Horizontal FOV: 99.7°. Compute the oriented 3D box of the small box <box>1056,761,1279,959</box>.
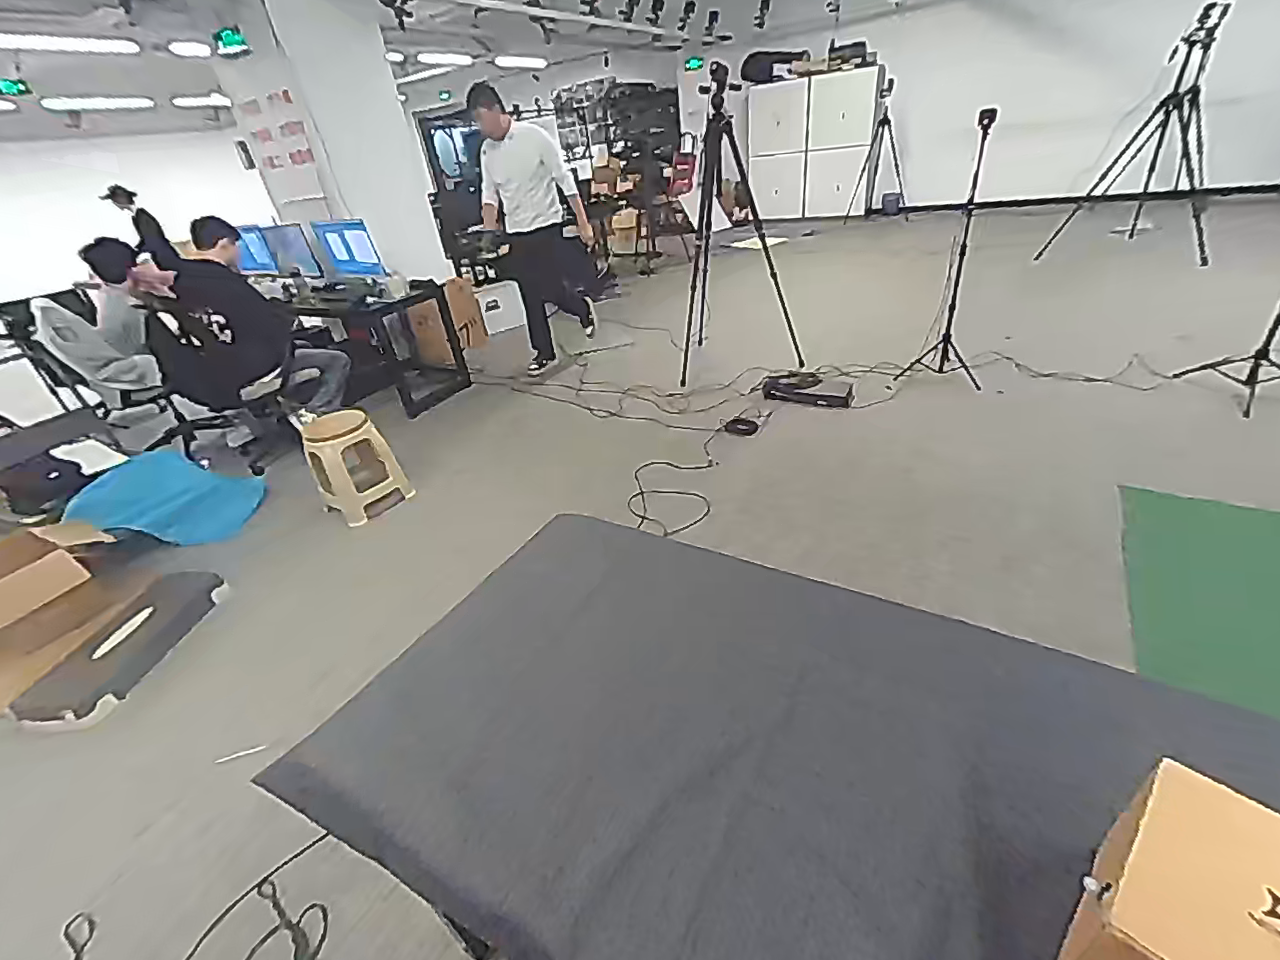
[{"bbox_3d":[0.458,0.375,0.419,0.179,0.176,0.168,-31,39,-31],"label":"small box"}]
